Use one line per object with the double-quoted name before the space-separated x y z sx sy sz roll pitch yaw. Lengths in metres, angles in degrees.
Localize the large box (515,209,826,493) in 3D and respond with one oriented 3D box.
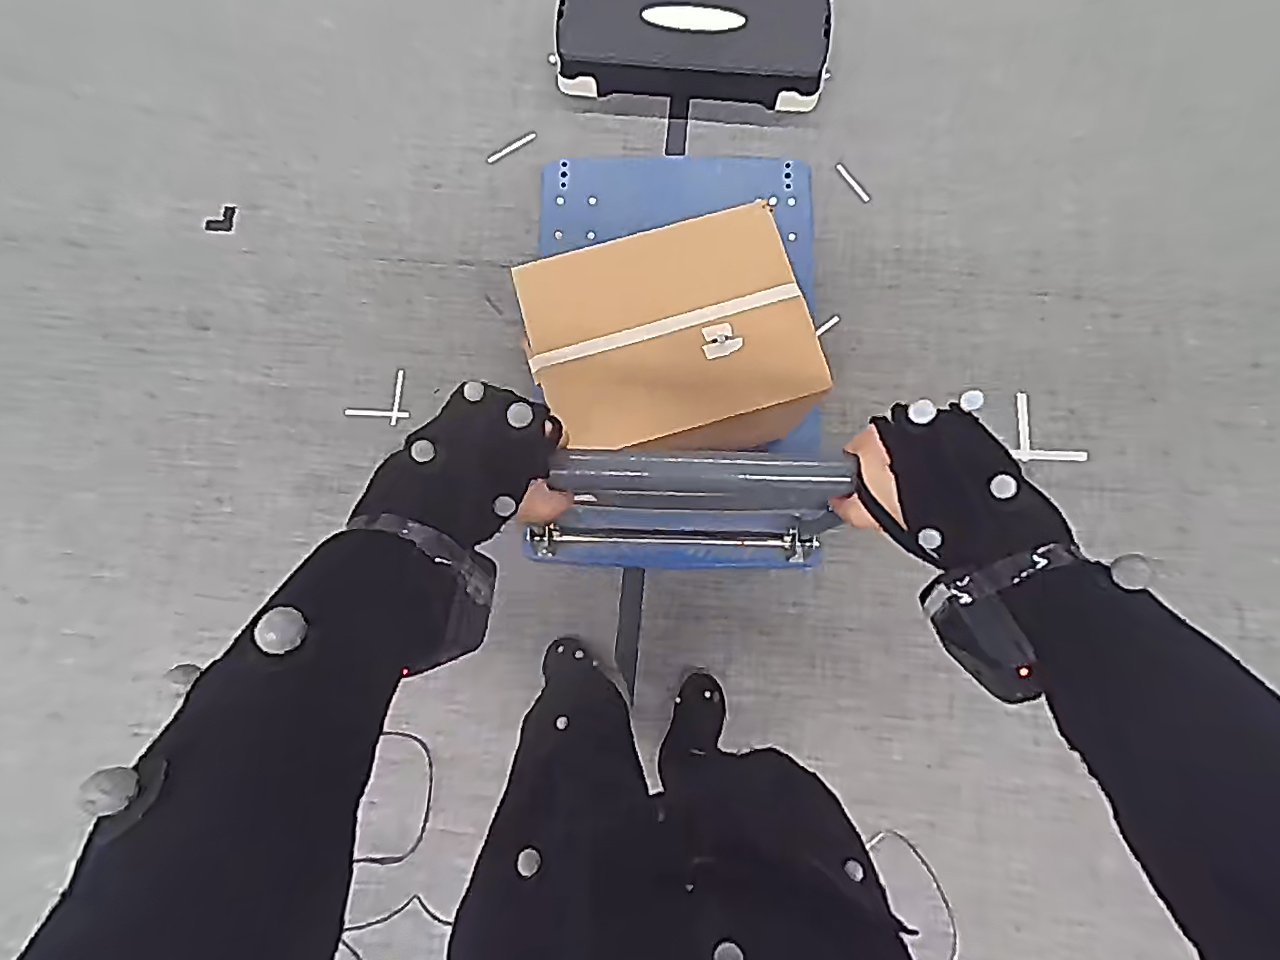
"large box" 0.040 -0.195 0.946 0.408 0.320 0.320 -16 82 -3
